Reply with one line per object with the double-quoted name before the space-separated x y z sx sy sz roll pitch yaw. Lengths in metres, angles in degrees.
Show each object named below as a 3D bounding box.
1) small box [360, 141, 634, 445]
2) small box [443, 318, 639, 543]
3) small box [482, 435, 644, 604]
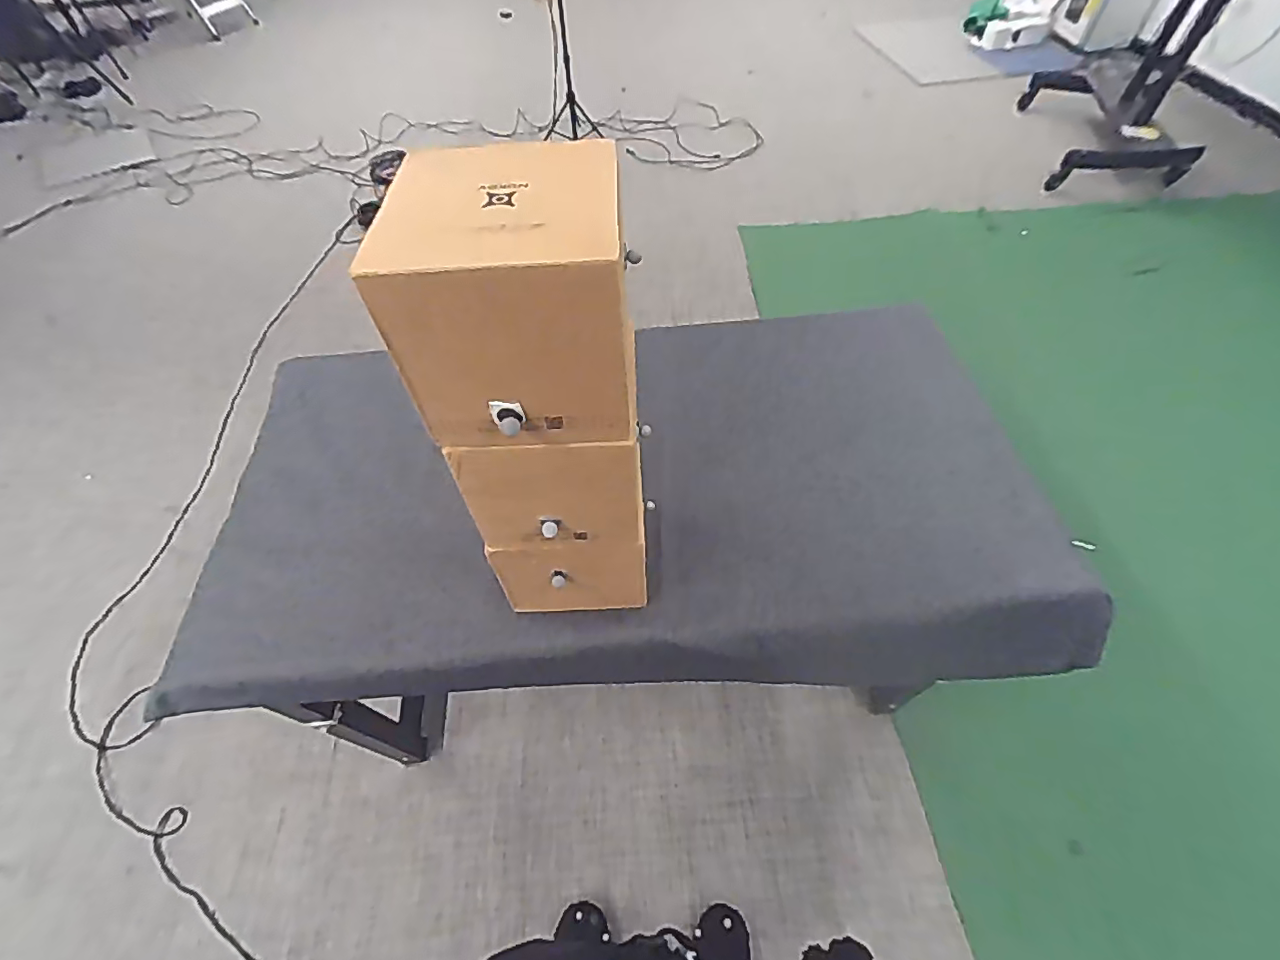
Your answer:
"small box" -0.092 -0.149 0.443 0.168 0.176 0.179 -3 54 0
"small box" -0.086 -0.051 0.570 0.168 0.176 0.179 -1 54 0
"small box" -0.086 0.052 0.699 0.179 0.176 0.168 -2 54 0
